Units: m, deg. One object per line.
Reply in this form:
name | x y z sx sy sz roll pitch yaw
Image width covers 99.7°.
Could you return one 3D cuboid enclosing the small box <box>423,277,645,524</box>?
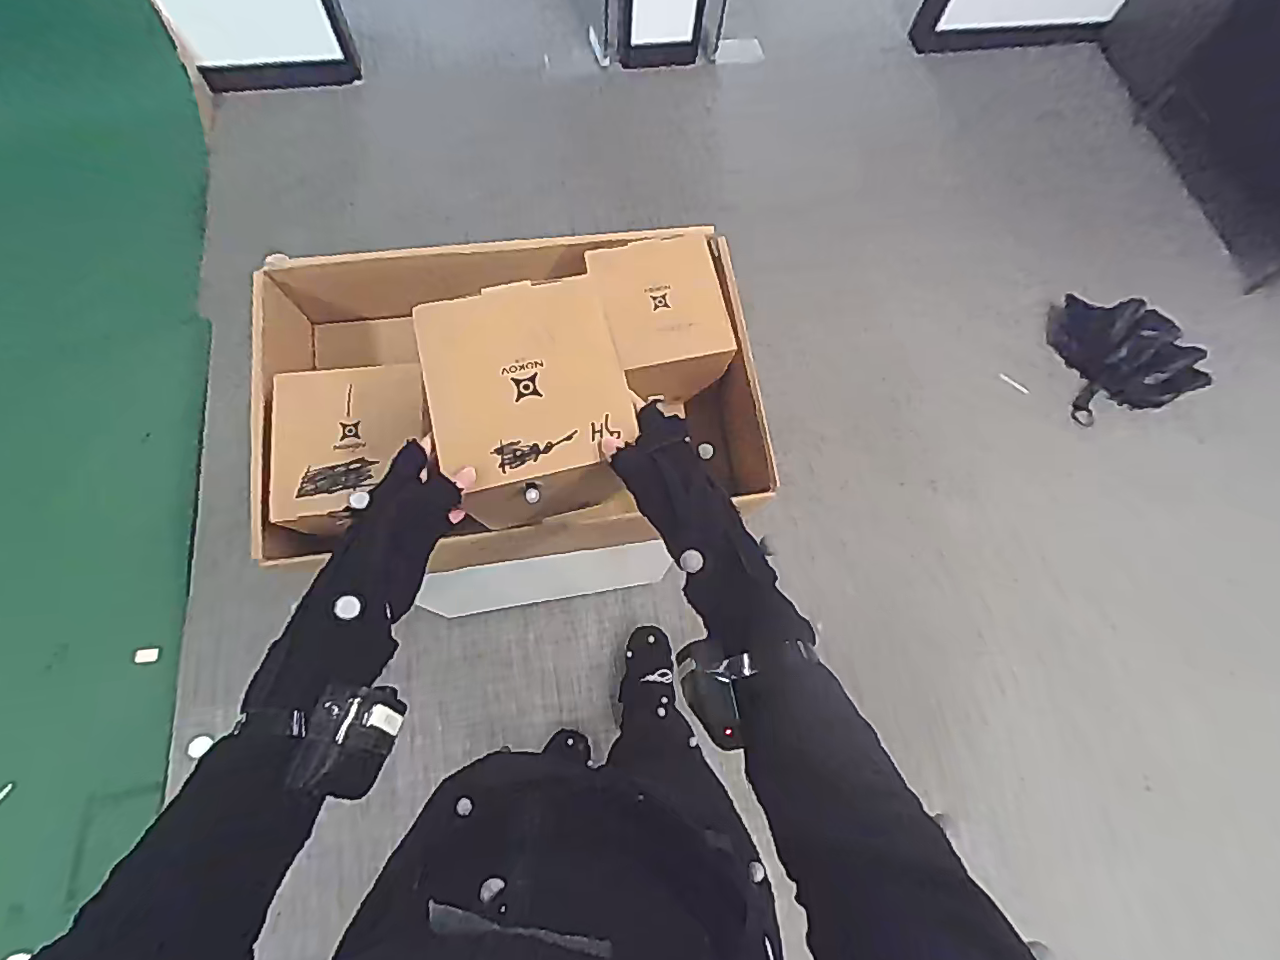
small box | -0.098 -0.068 0.543 0.168 0.176 0.179 -13 77 -5
